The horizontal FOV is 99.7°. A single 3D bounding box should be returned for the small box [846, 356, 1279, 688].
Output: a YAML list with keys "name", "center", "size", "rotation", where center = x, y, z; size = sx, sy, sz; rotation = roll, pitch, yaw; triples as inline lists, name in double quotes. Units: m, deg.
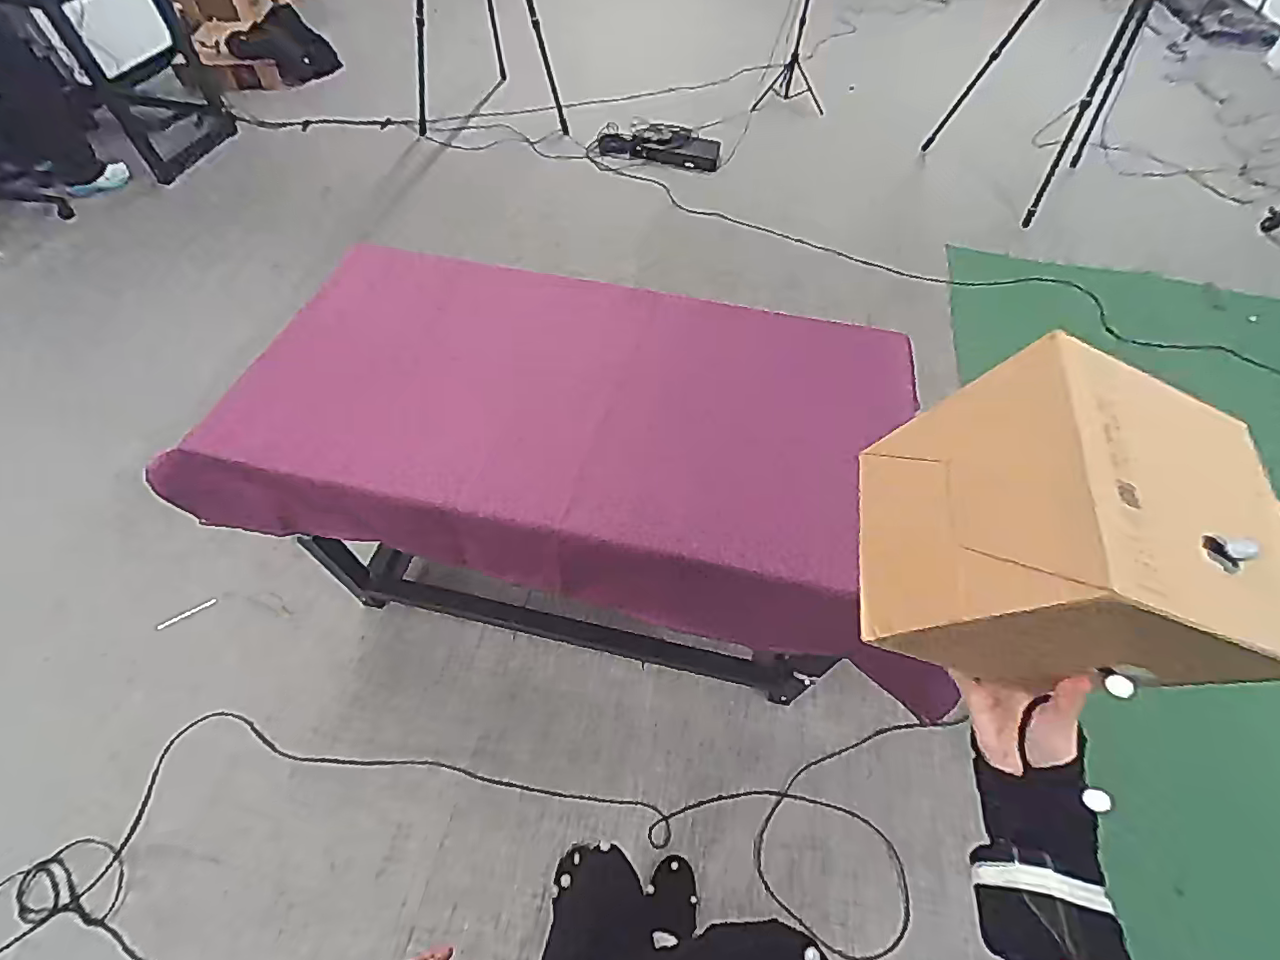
- name: "small box"
  center: [0.272, 0.036, 0.380]
  size: [0.176, 0.179, 0.168]
  rotation: [19, 60, -12]
